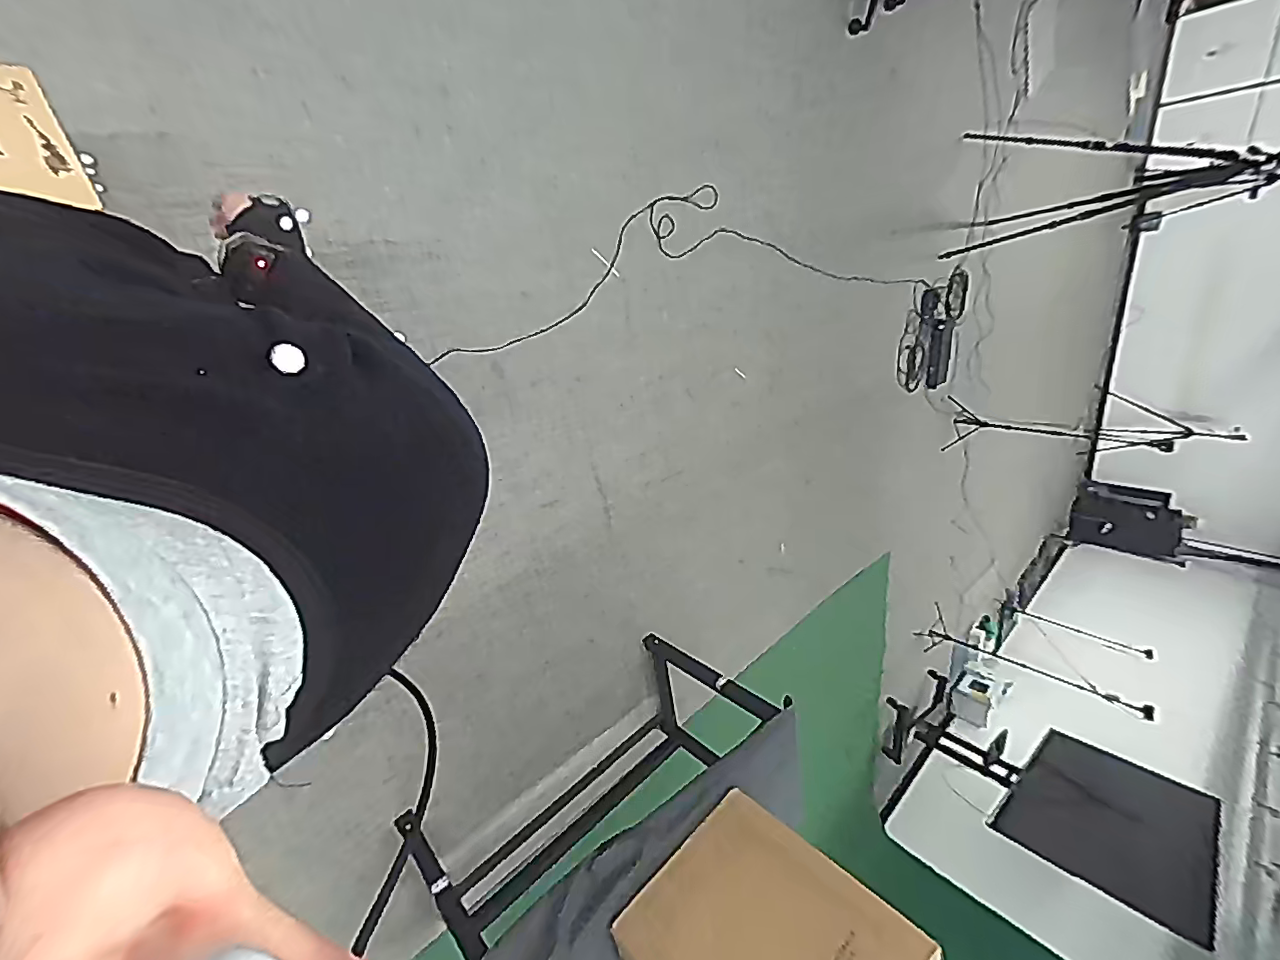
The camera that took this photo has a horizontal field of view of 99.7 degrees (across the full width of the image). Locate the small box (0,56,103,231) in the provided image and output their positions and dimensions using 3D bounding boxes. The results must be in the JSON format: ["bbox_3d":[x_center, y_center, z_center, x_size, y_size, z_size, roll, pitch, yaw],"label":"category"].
[{"bbox_3d":[-0.866,-0.432,0.712,0.179,0.176,0.168,-28,119,-32],"label":"small box"}]
